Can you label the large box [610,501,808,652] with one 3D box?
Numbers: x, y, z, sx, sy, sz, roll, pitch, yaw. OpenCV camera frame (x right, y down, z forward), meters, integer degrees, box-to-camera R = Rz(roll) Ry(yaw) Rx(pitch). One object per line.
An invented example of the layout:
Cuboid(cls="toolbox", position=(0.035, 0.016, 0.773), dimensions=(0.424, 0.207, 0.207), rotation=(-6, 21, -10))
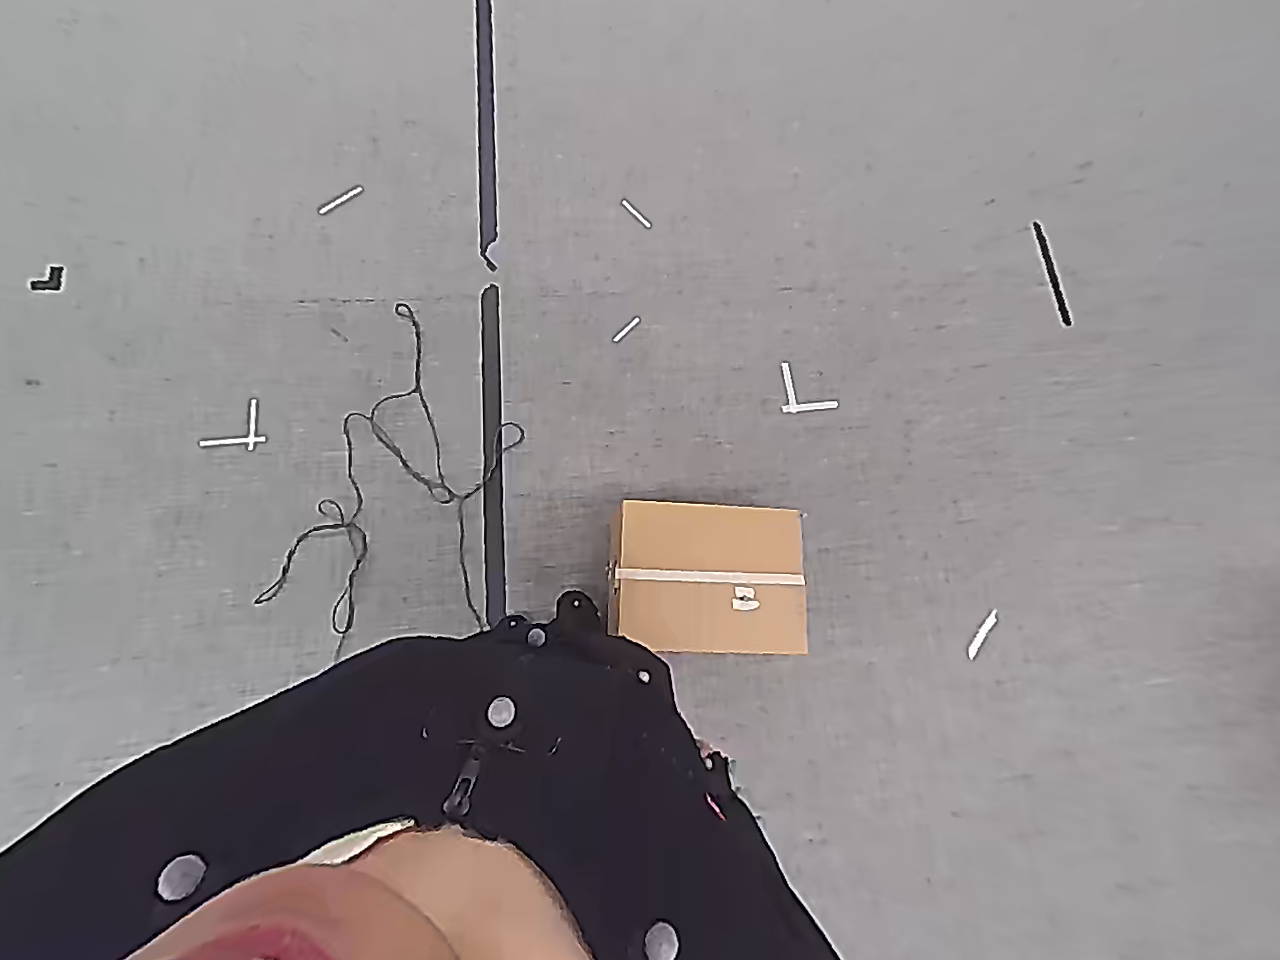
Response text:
Cuboid(cls="large box", position=(0.139, 0.238, 1.296), dimensions=(0.408, 0.320, 0.320), rotation=(3, 77, -8))
